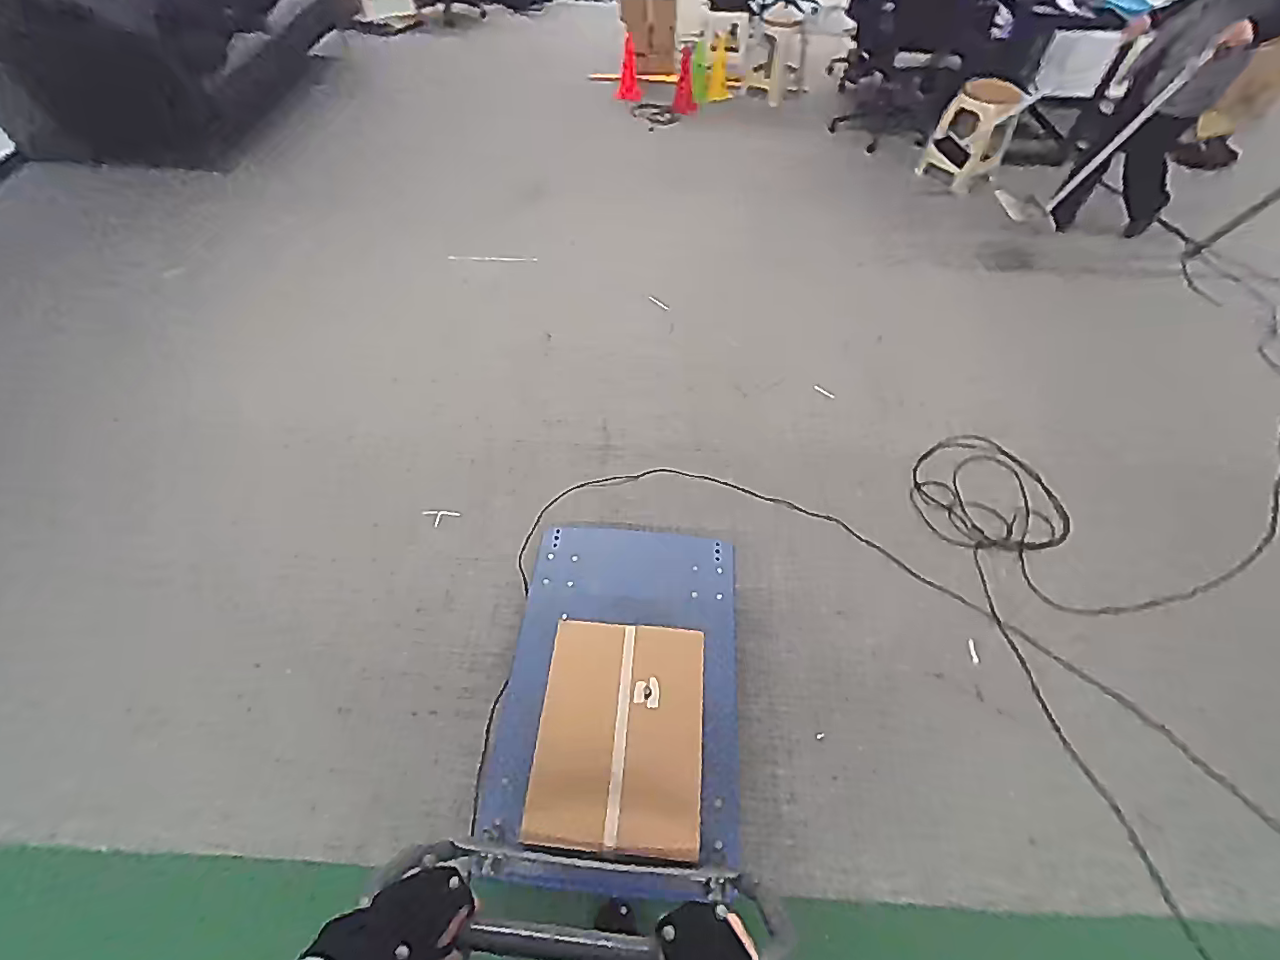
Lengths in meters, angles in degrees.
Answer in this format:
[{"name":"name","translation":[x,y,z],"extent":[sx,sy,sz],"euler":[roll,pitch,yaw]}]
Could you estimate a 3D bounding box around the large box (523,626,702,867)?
[{"name":"large box","translation":[-0.039,0.572,1.156],"extent":[0.320,0.320,0.408],"euler":[5,54,2]}]
